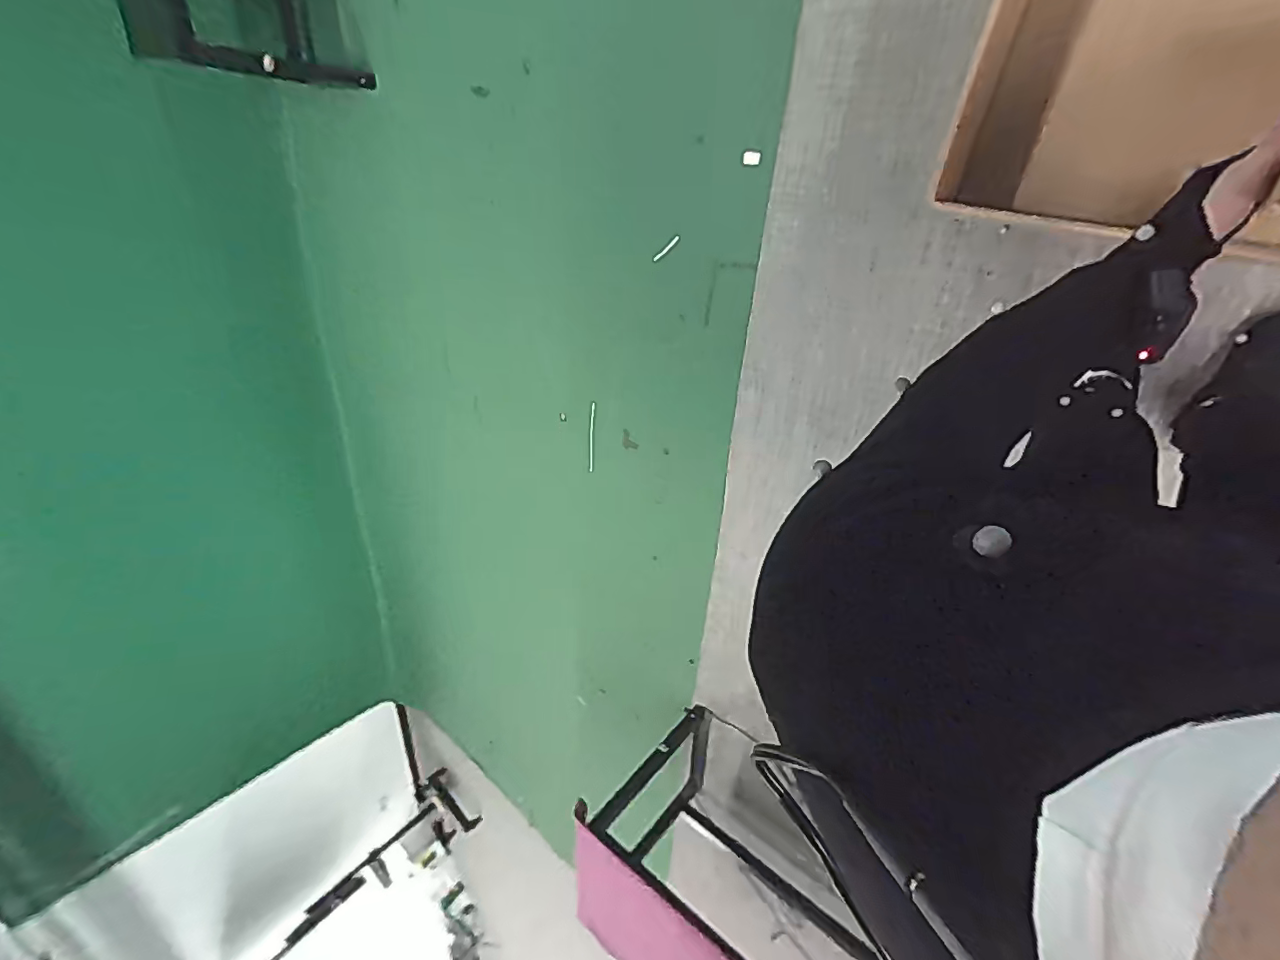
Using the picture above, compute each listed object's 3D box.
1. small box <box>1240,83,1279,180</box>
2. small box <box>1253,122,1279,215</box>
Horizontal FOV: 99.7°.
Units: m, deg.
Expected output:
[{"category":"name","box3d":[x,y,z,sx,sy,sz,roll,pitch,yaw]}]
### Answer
[{"category":"small box","box3d":[0.679,-0.351,0.466,0.168,0.176,0.179,24,129,31]},{"category":"small box","box3d":[0.576,-0.274,0.364,0.168,0.176,0.179,24,128,30]}]
